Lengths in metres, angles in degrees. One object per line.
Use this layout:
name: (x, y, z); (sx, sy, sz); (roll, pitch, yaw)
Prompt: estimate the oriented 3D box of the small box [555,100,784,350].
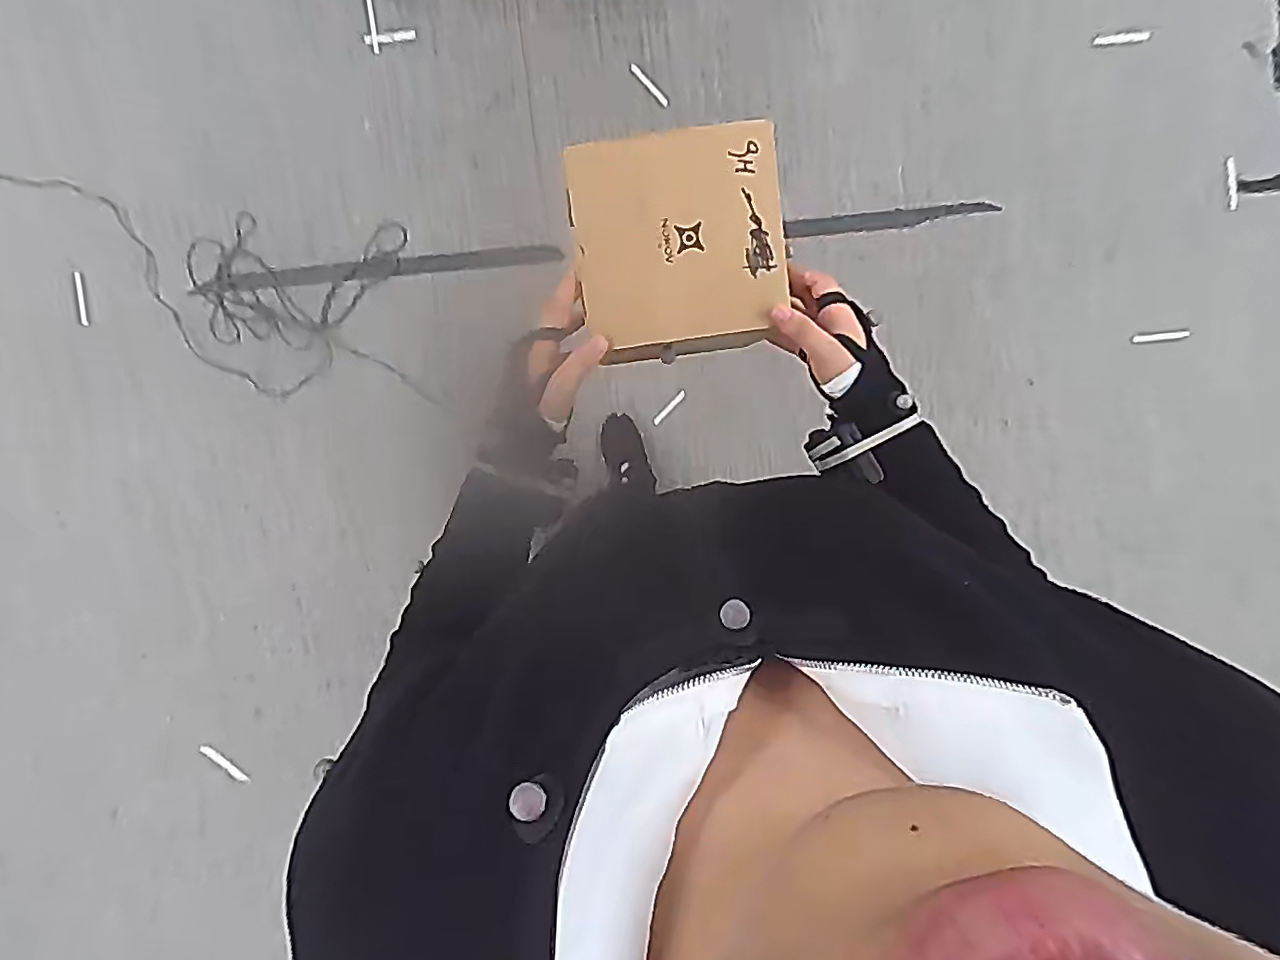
small box: (0.027, -0.225, 0.525); (0.179, 0.176, 0.168); (-8, 98, 1)
